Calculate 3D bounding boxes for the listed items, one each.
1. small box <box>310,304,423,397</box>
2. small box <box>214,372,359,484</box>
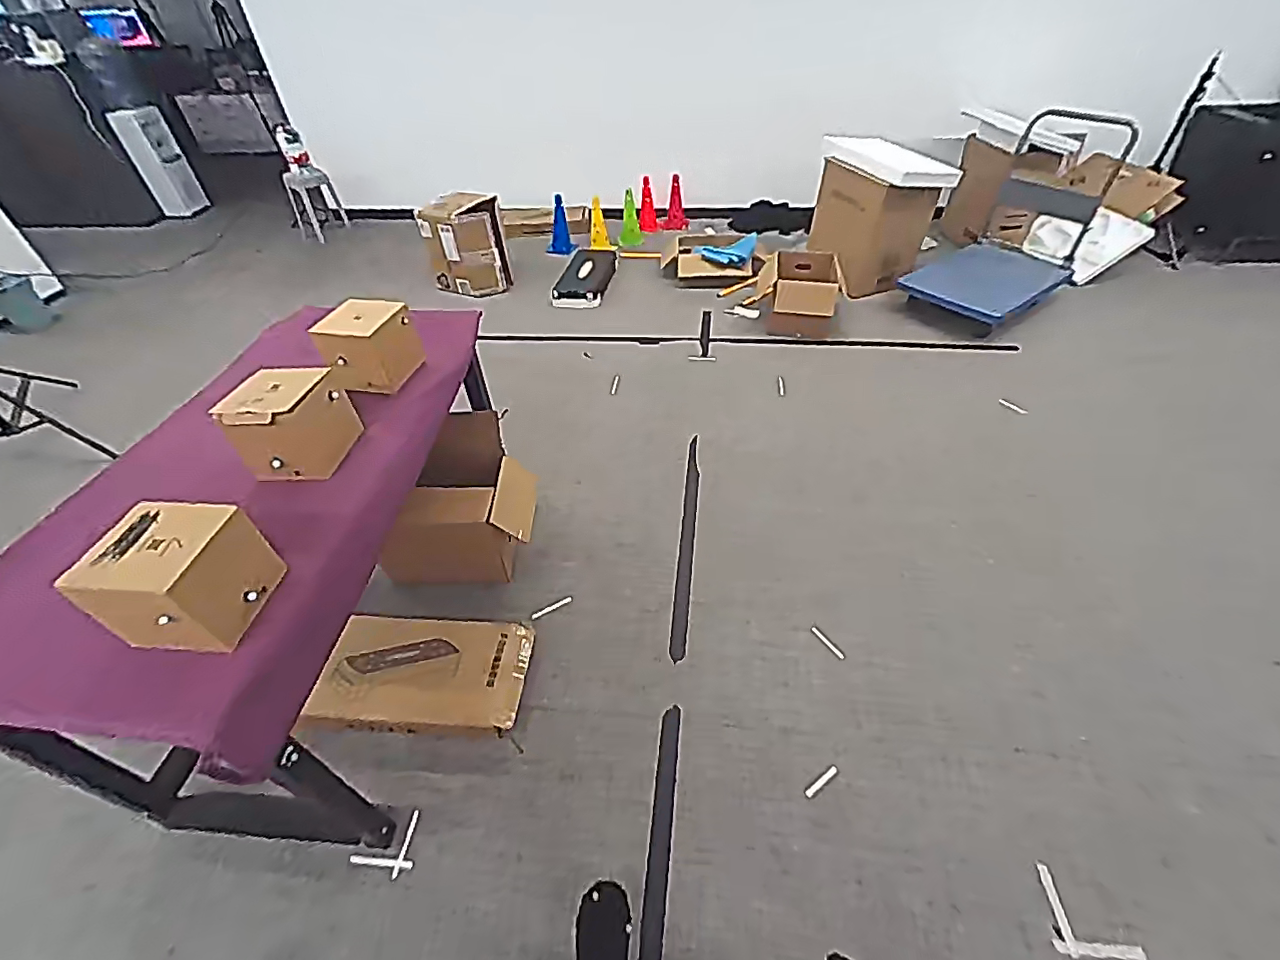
[{"bbox_3d":[-0.681,-0.328,1.372,0.168,0.176,0.179,6,44,10],"label":"small box"},{"bbox_3d":[-0.728,-0.112,1.143,0.168,0.176,0.179,-1,43,6],"label":"small box"}]
